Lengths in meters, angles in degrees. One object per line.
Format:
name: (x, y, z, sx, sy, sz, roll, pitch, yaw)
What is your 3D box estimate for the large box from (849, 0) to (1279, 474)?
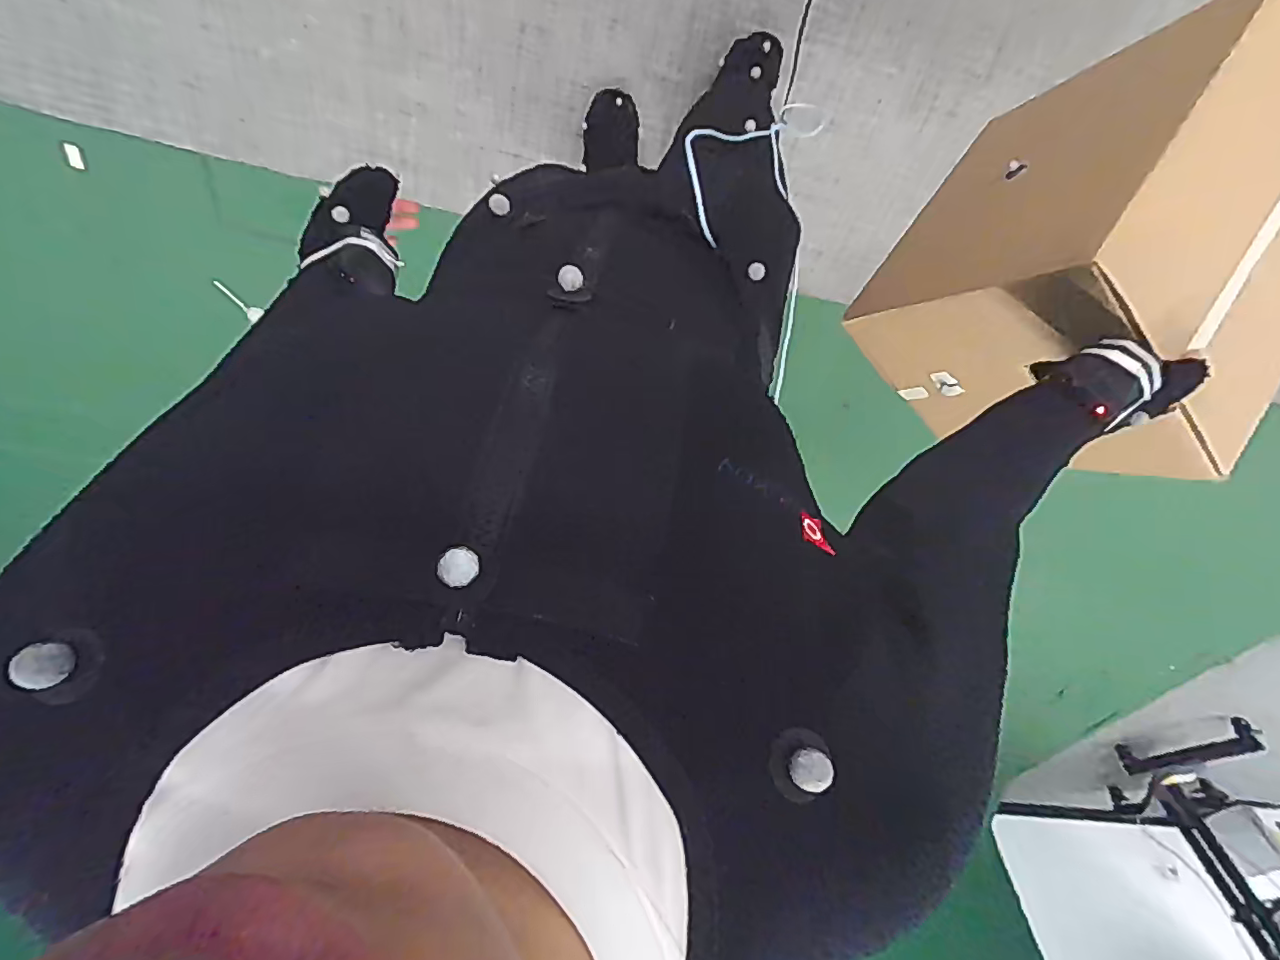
large box: (0.557, -0.262, 0.686, 0.320, 0.320, 0.408, 40, 81, -20)
